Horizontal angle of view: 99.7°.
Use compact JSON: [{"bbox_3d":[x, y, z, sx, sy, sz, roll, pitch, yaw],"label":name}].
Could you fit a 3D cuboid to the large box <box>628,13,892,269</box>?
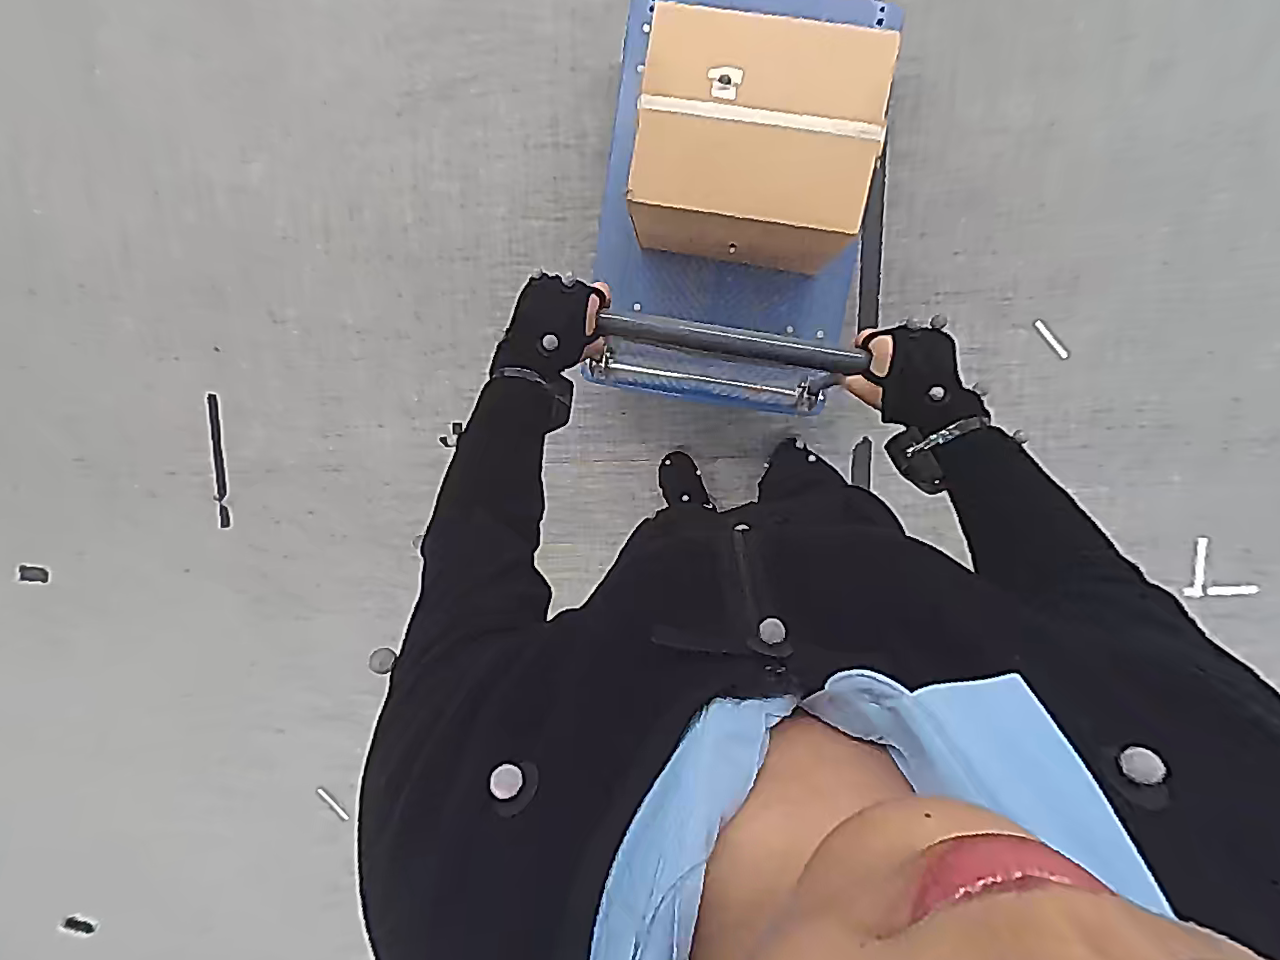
[{"bbox_3d":[0.212,-0.628,1.064,0.408,0.320,0.320,10,98,4],"label":"large box"}]
